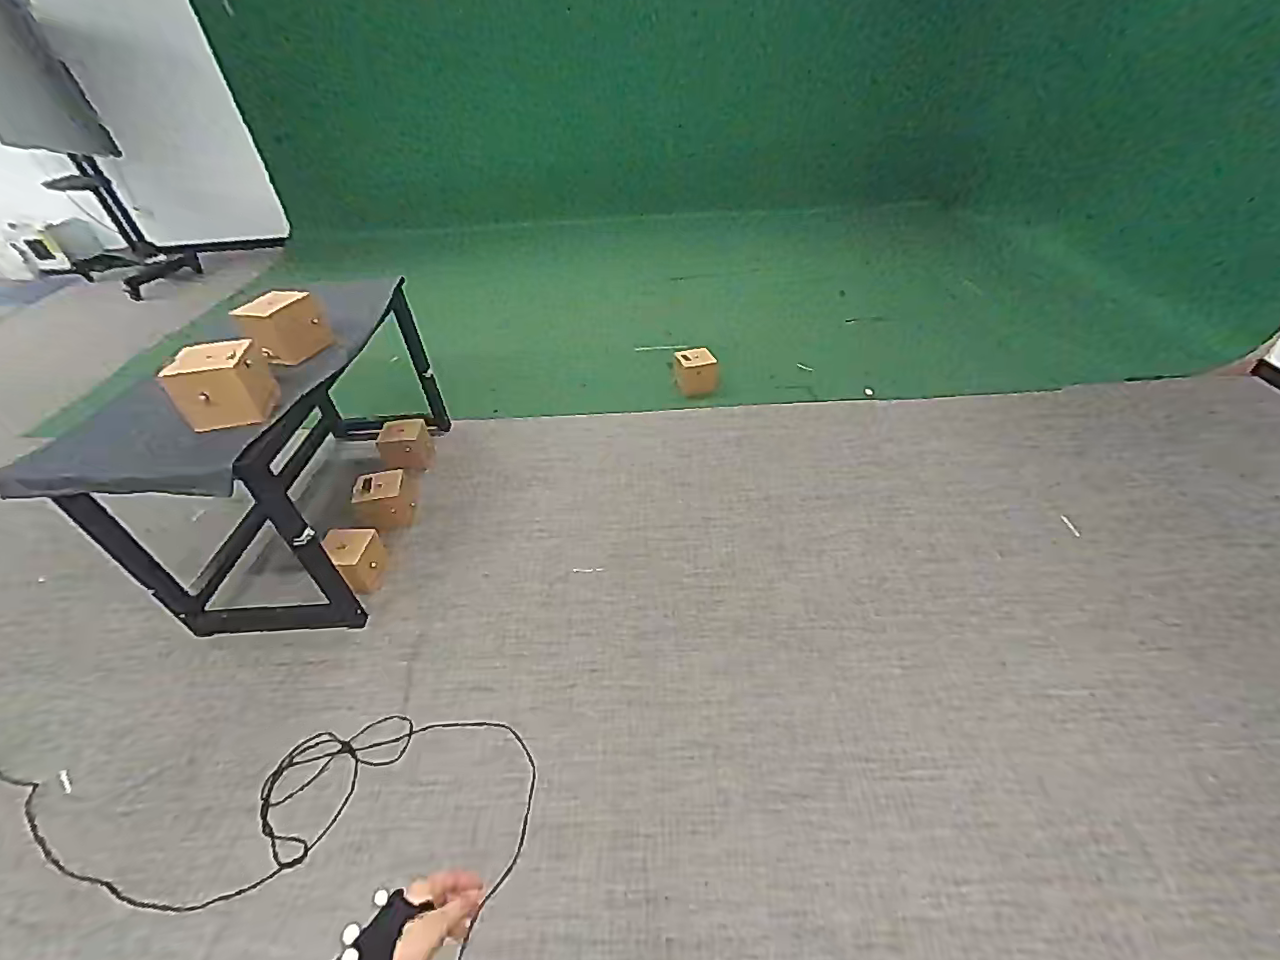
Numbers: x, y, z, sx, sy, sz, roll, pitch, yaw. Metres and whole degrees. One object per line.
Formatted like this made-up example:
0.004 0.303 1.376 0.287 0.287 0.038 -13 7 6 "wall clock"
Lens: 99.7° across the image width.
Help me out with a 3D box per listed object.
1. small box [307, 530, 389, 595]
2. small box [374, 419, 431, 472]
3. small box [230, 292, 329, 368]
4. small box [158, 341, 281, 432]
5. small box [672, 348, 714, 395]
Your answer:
-1.030 0.296 1.929 0.179 0.176 0.168 -1 42 5 "small box"
-1.061 -0.155 2.437 0.179 0.176 0.168 -6 41 -2 "small box"
-1.122 -0.475 1.706 0.168 0.176 0.179 8 44 18 "small box"
-1.109 -0.247 1.444 0.179 0.176 0.168 -11 42 -8 "small box"
0.272 -0.553 2.778 0.179 0.176 0.168 -13 42 -11 "small box"
